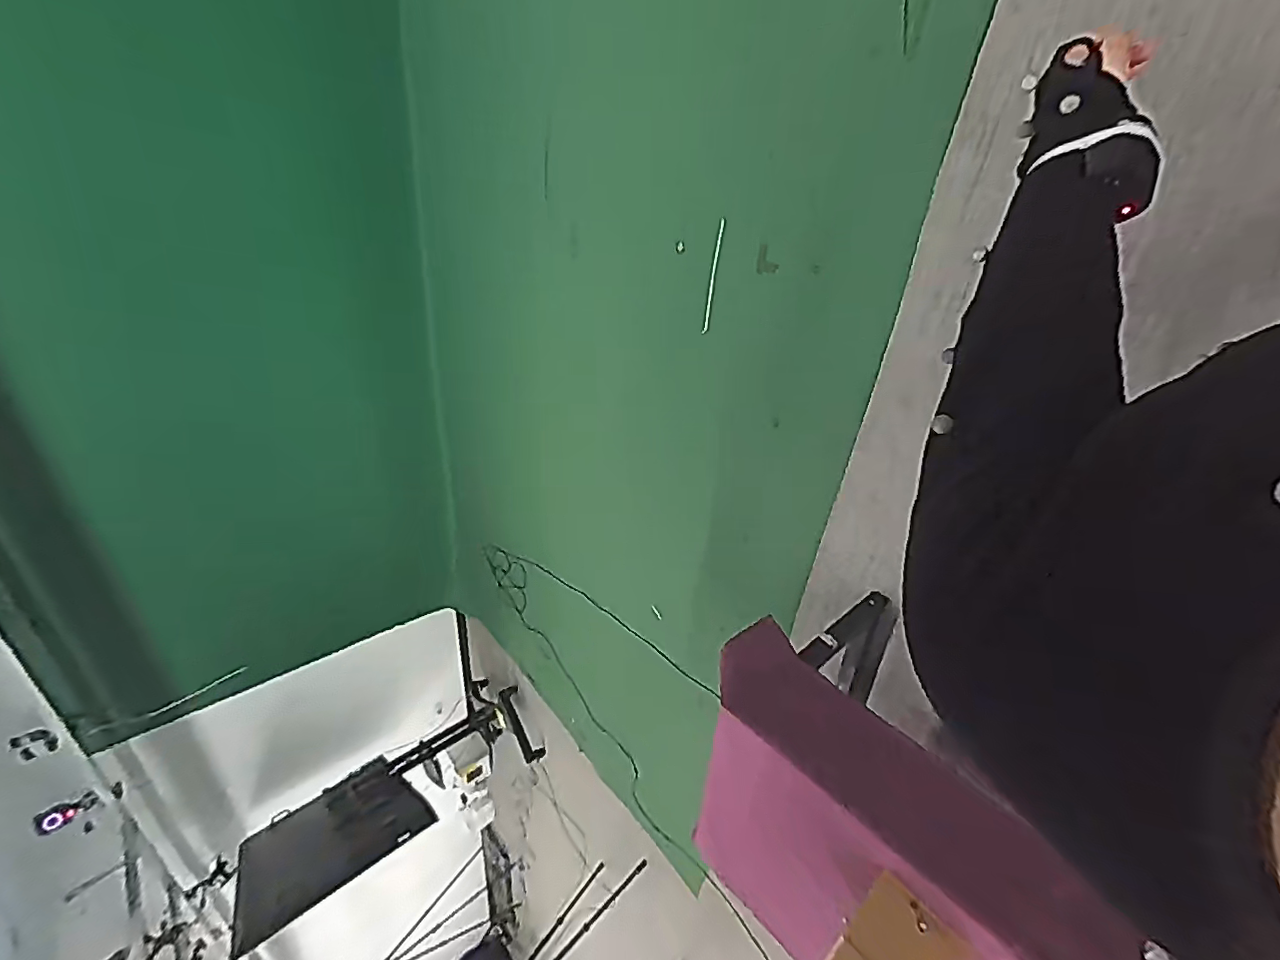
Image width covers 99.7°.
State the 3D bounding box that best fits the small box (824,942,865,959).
[{"bbox_3d":[0.332,0.908,0.871,0.168,0.176,0.179,36,132,37],"label":"small box"}]
